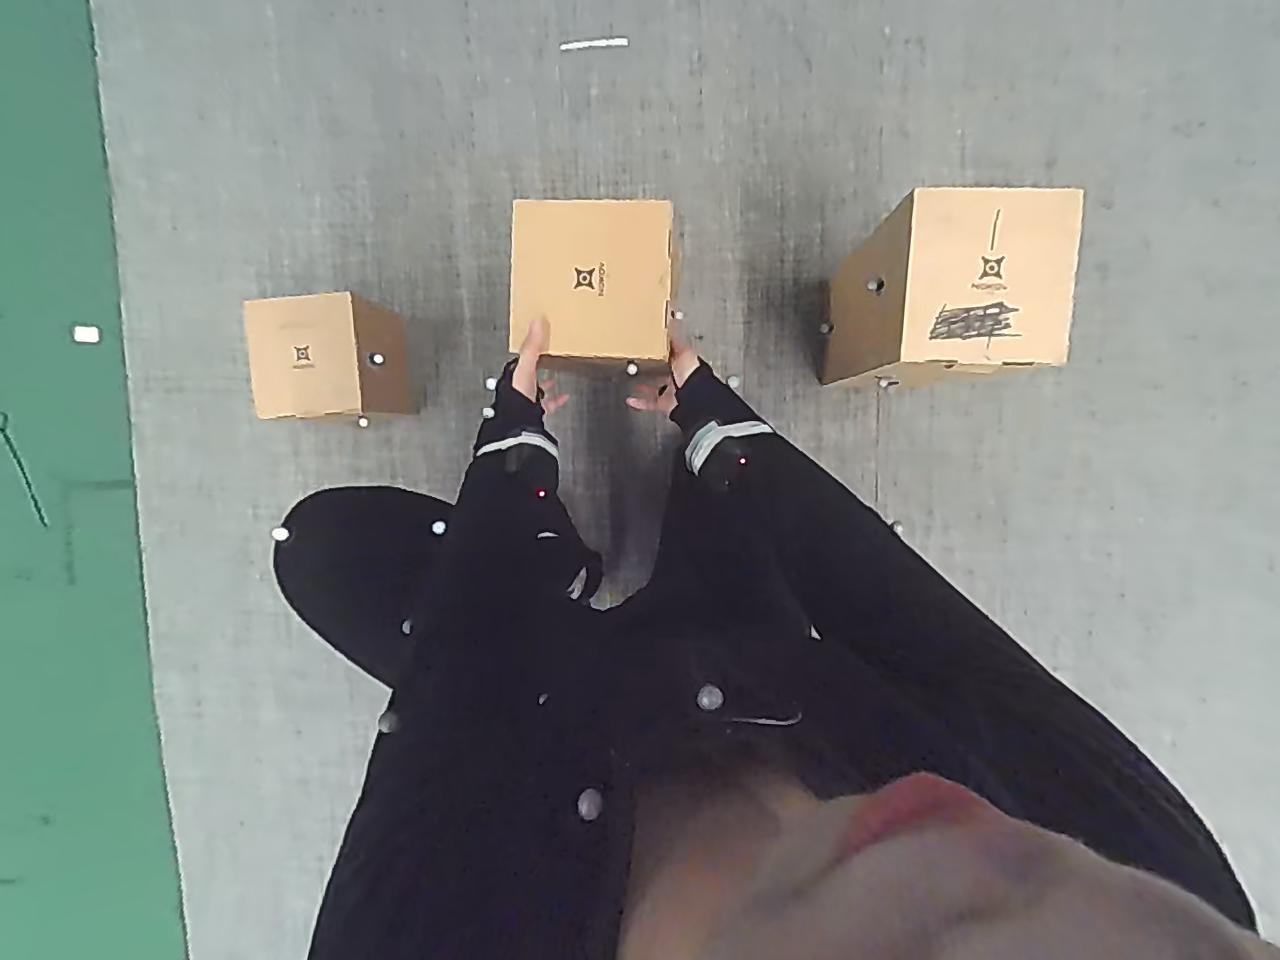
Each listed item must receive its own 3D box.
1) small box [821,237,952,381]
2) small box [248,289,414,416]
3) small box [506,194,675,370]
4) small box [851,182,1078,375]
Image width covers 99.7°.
[{"bbox_3d":[0.370,-0.238,0.790,0.168,0.176,0.179,2,96,4],"label":"small box"},{"bbox_3d":[-0.482,-0.193,0.870,0.168,0.176,0.179,-3,94,5],"label":"small box"},{"bbox_3d":[-0.051,-0.229,0.664,0.179,0.176,0.168,3,95,5],"label":"small box"},{"bbox_3d":[0.354,-0.218,0.627,0.168,0.176,0.179,3,94,5],"label":"small box"}]
